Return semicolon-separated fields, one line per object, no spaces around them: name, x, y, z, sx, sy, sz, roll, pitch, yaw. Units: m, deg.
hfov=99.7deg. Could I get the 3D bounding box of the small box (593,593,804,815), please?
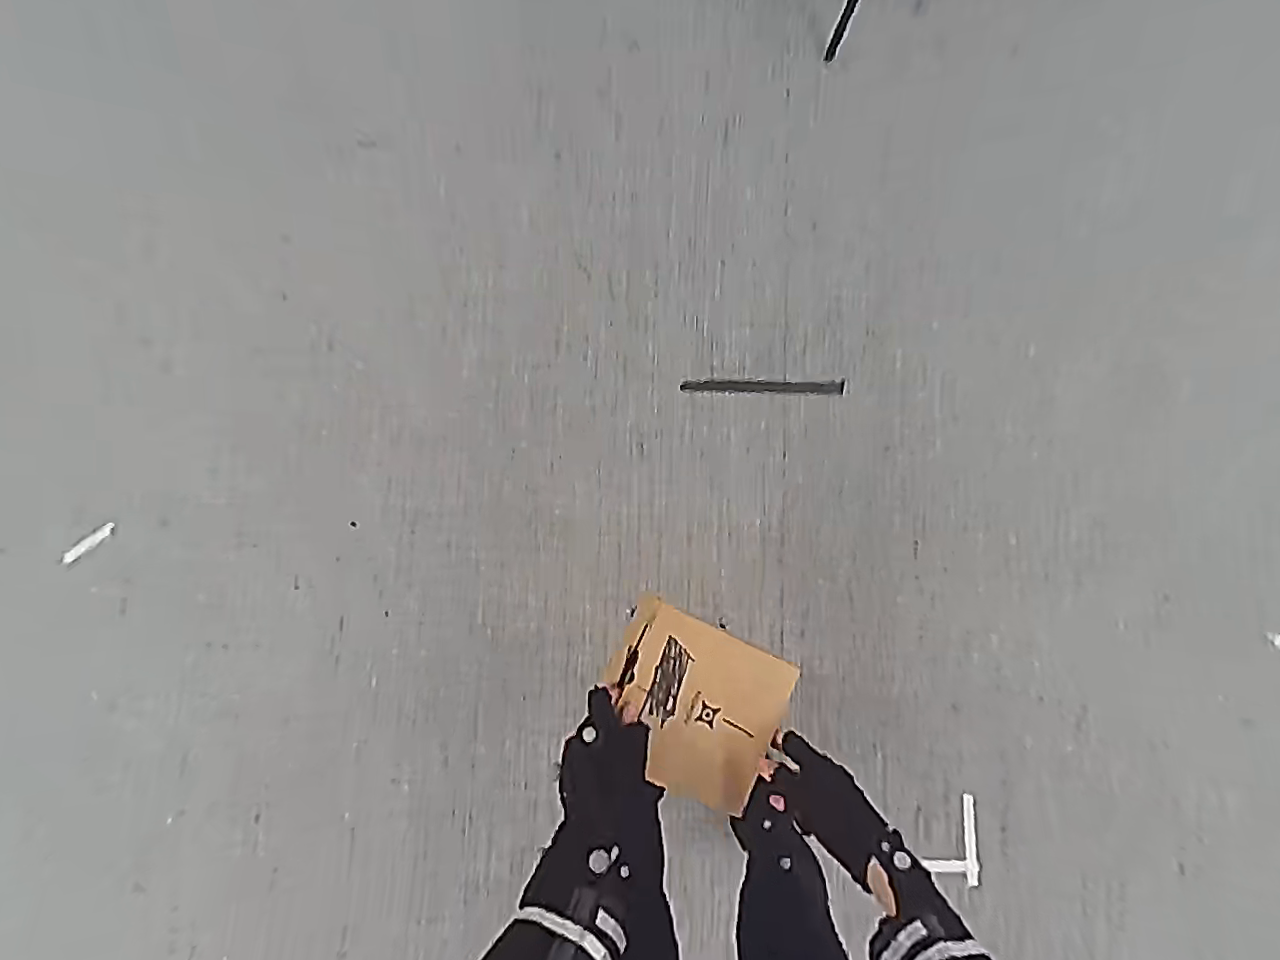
small box;0.056;0.243;0.636;0.179;0.176;0.168;26;80;-1
